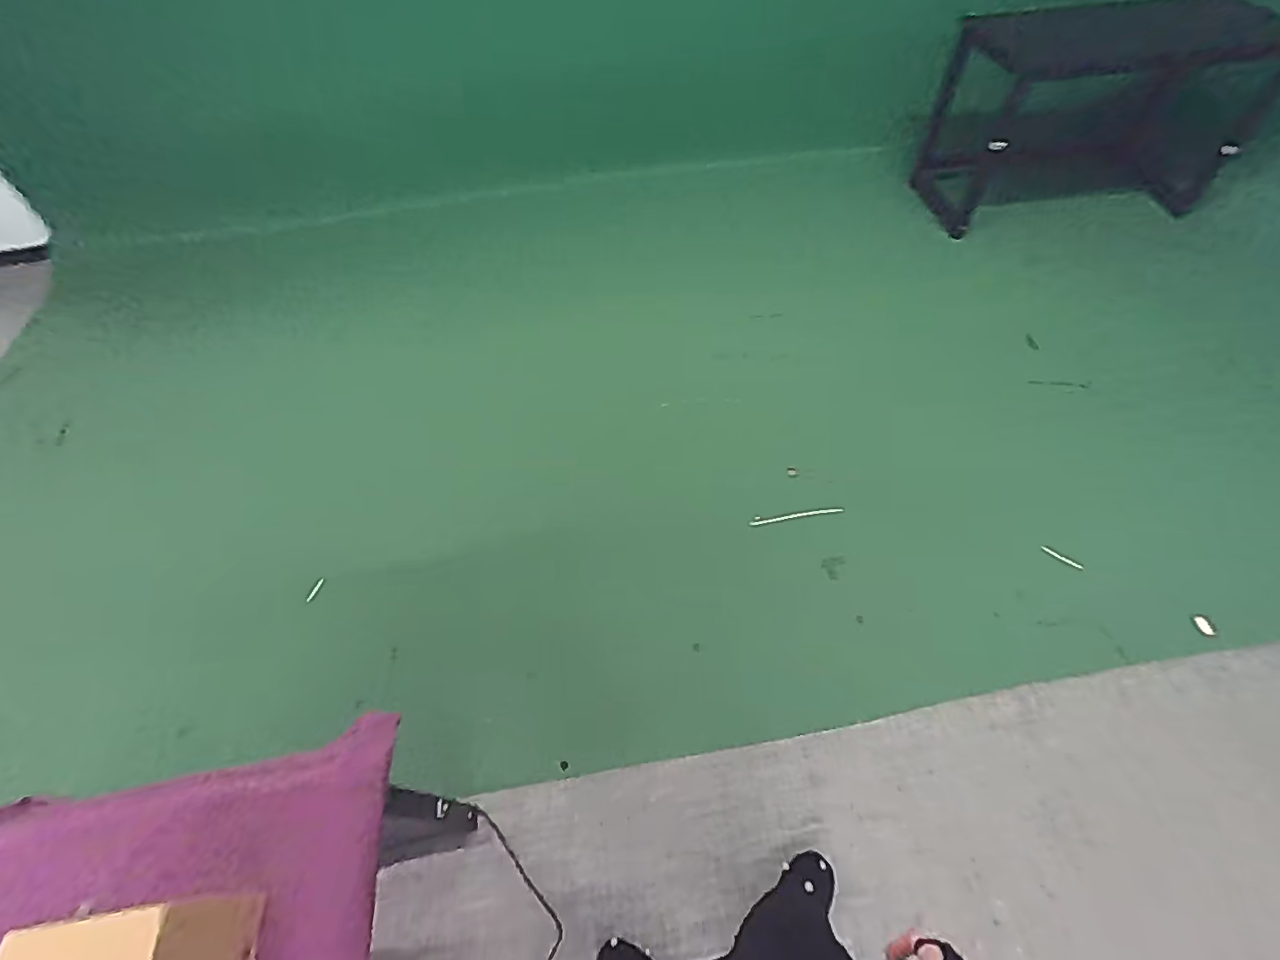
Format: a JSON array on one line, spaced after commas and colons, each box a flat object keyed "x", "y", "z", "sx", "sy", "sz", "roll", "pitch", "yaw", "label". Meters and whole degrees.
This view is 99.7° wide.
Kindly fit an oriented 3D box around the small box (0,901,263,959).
[{"x": -0.569, "y": 0.582, "z": 0.593, "sx": 0.179, "sy": 0.176, "sz": 0.168, "roll": -9, "pitch": 55, "yaw": -1, "label": "small box"}]
